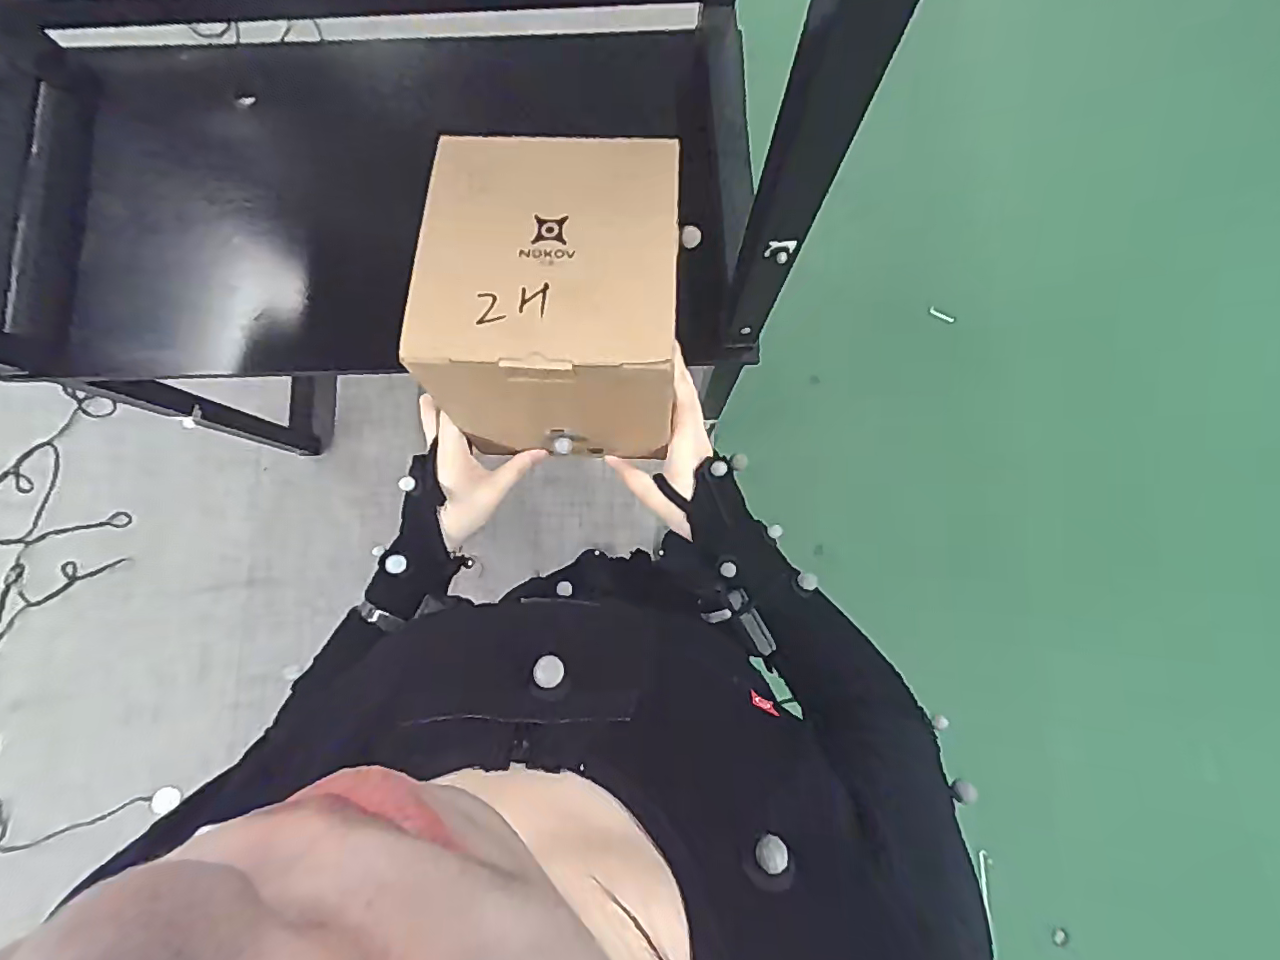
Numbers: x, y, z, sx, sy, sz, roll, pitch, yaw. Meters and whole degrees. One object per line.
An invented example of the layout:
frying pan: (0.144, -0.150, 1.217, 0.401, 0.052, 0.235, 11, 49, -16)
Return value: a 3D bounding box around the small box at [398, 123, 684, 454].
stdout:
small box: (-0.055, -0.133, 0.416, 0.168, 0.176, 0.179, 2, 74, 3)
